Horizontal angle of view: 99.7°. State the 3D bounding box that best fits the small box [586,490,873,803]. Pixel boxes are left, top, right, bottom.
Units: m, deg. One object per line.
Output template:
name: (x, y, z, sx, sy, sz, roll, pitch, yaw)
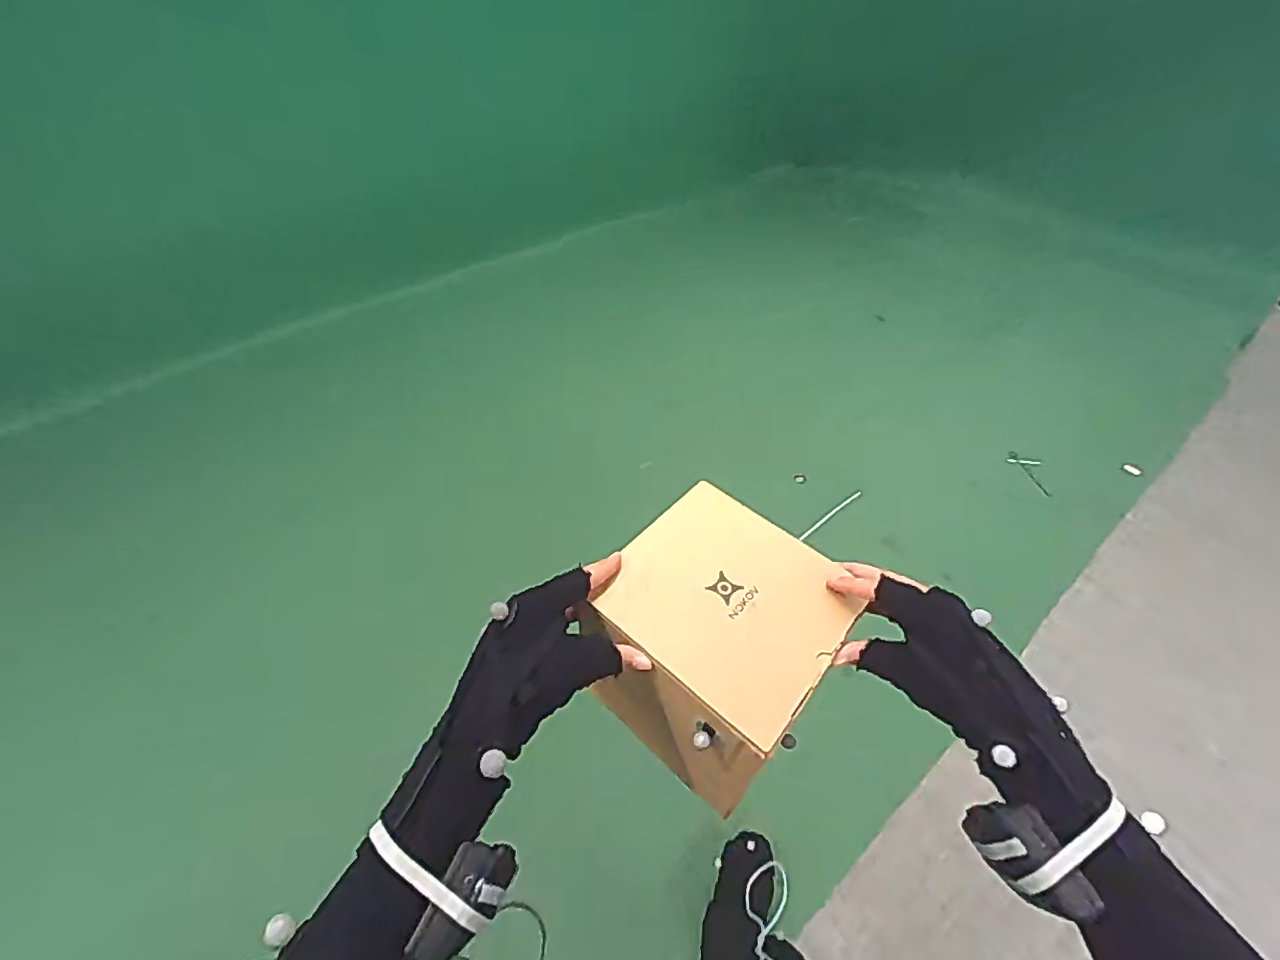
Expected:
small box: (0.066, 0.148, 0.486, 0.179, 0.176, 0.168, 35, 53, 25)
